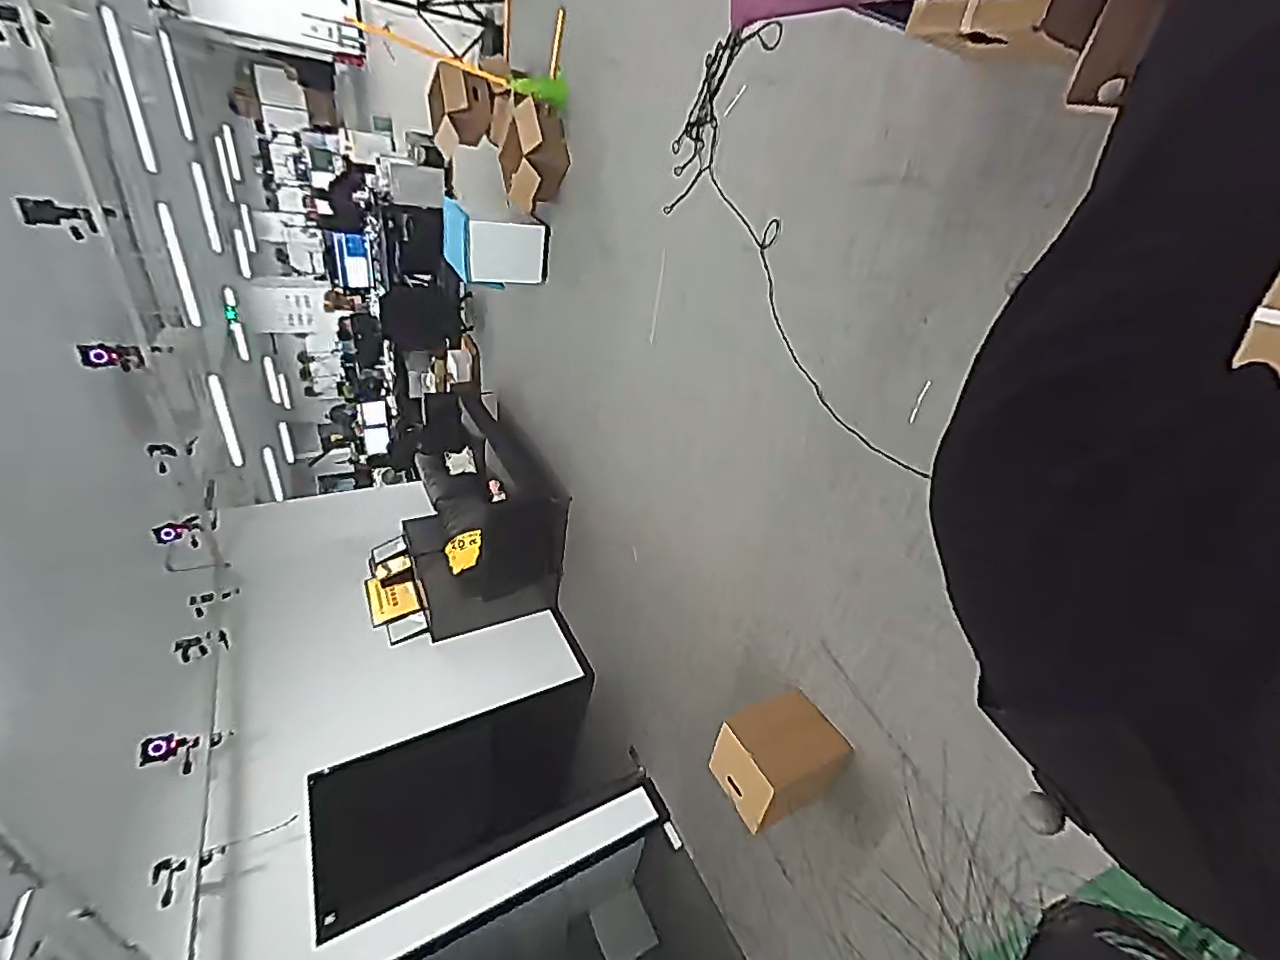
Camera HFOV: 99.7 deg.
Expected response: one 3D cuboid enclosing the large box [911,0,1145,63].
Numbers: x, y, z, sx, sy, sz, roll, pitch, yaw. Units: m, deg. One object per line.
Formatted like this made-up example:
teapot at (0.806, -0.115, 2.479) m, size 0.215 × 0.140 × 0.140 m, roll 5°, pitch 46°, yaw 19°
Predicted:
large box at (0.833, -1.105, 1.073) m, size 0.320 × 0.320 × 0.408 m, roll 48°, pitch 139°, yaw 44°
